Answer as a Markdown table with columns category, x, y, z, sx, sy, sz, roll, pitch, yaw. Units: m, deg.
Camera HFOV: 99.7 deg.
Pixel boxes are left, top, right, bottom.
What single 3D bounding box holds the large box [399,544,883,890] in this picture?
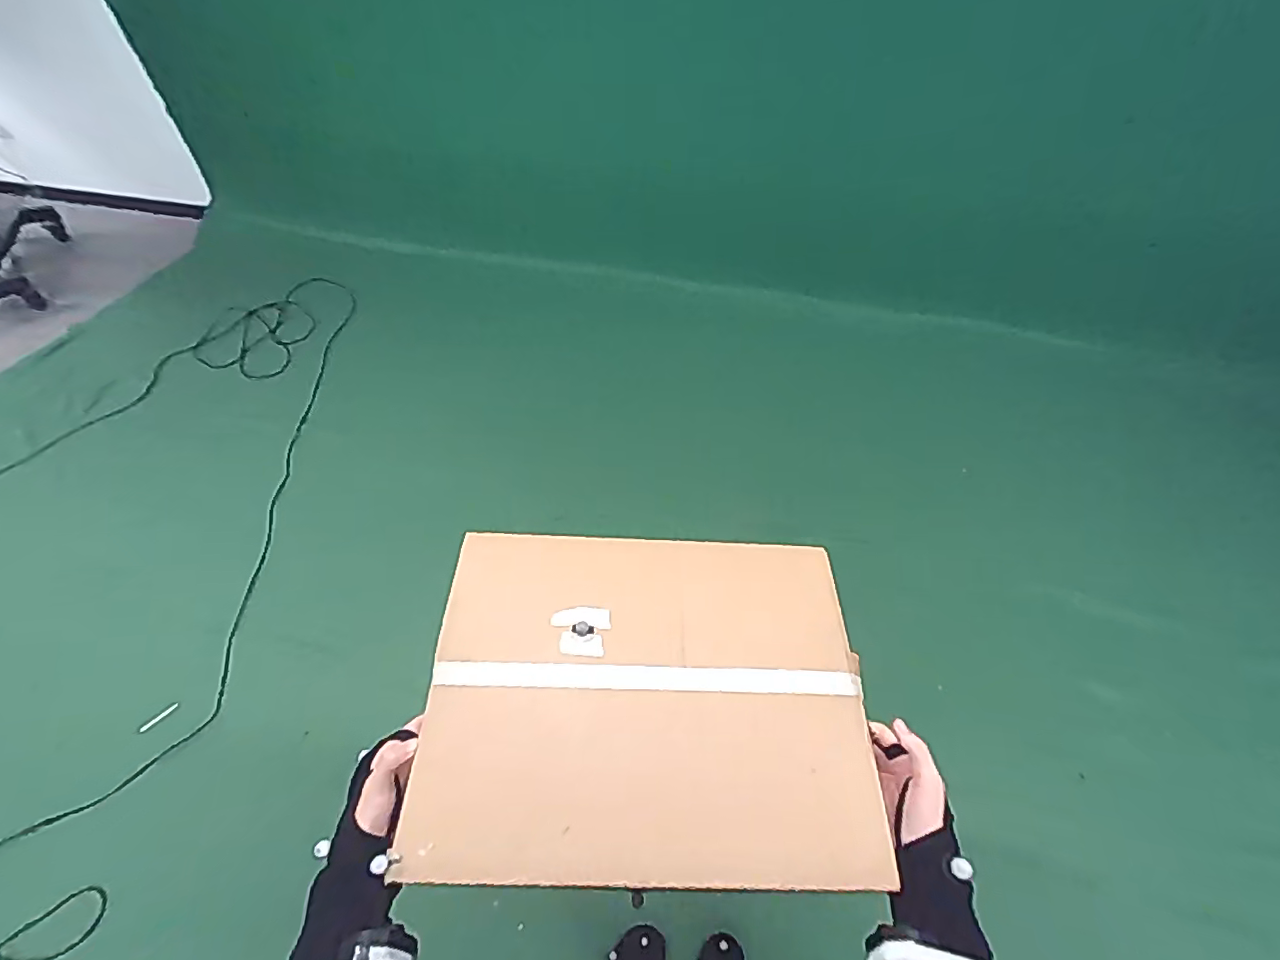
| category | x | y | z | sx | sy | sz | roll | pitch | yaw |
| --- | --- | --- | --- | --- | --- | --- | --- | --- | --- |
| large box | 0.000 | 0.287 | 0.645 | 0.408 | 0.320 | 0.320 | 2 | 53 | -1 |
